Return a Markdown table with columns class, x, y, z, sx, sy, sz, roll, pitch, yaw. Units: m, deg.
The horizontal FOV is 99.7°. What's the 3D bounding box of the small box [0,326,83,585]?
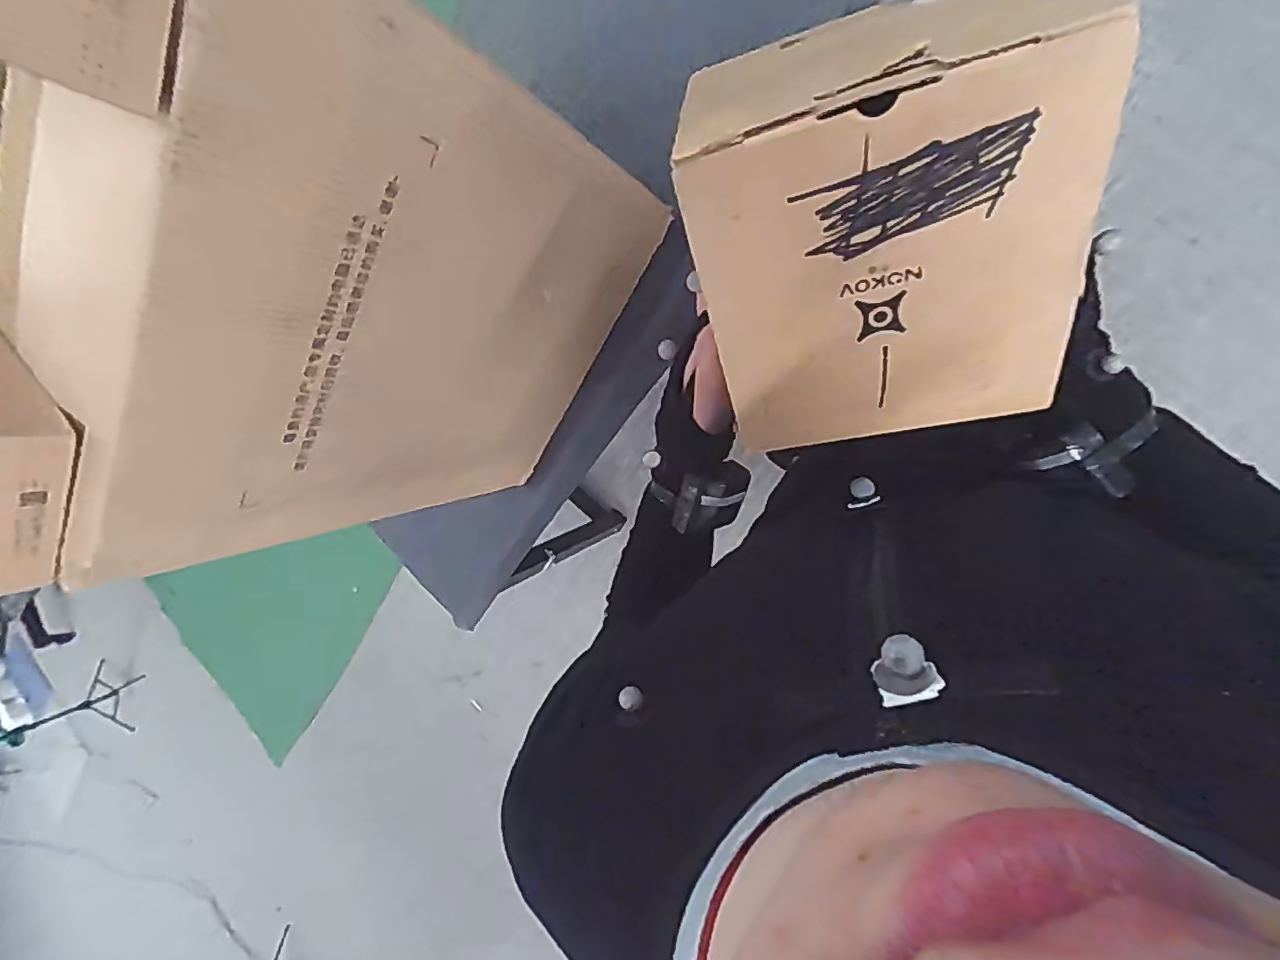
| class | x | y | z | sx | sy | sz | roll | pitch | yaw |
| --- | --- | --- | --- | --- | --- | --- | --- | --- | --- |
| small box | -0.547 | -0.016 | 0.381 | 0.179 | 0.176 | 0.168 | 40 | 113 | 13 |
